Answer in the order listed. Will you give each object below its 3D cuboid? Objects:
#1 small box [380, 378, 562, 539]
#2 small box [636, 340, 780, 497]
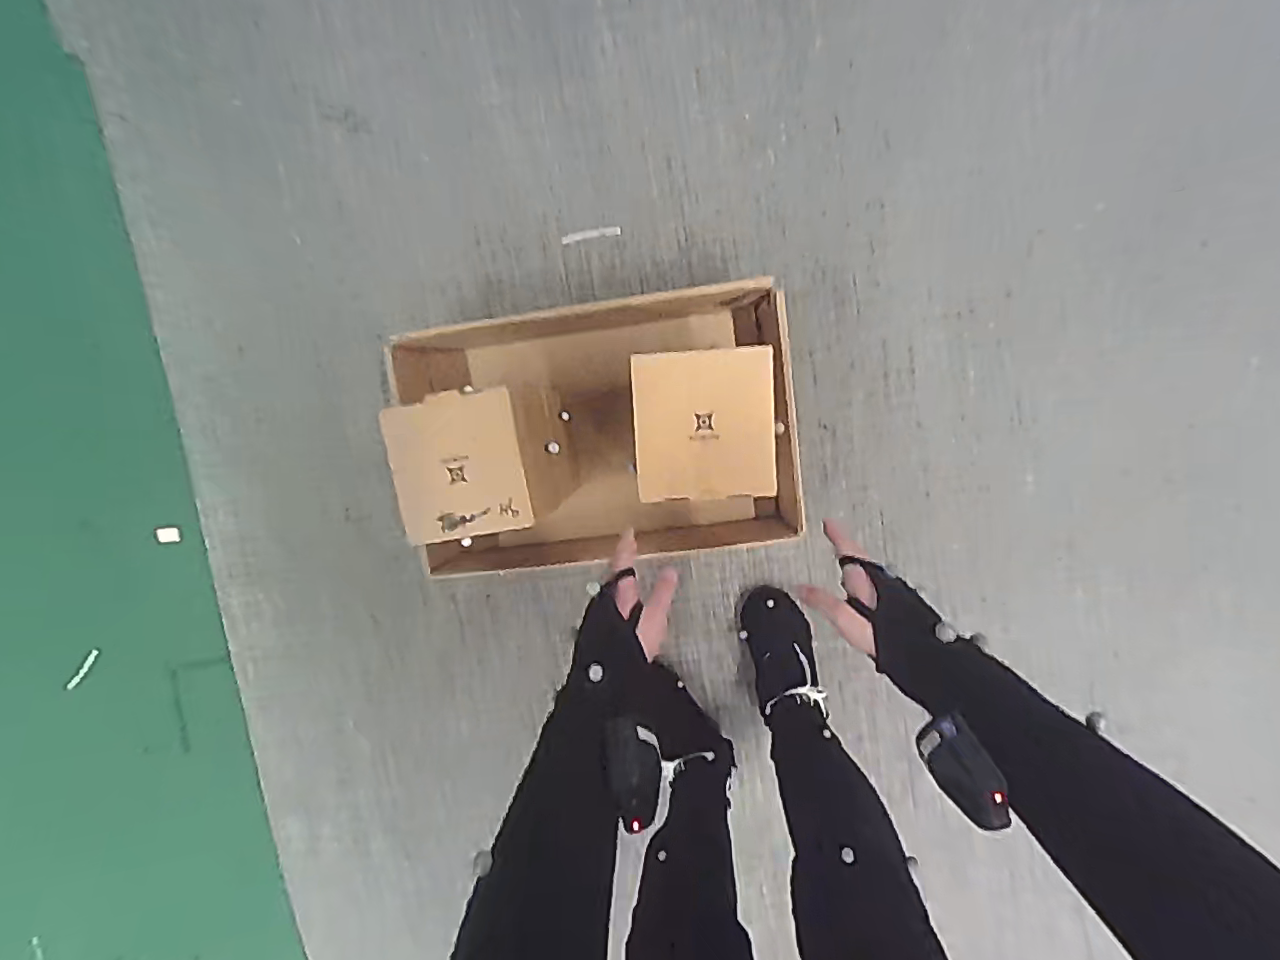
[{"bbox_3d":[-0.213,-0.032,0.727,0.168,0.176,0.179,-9,96,6],"label":"small box"},{"bbox_3d":[0.082,-0.079,0.704,0.168,0.176,0.179,-3,99,4],"label":"small box"}]
